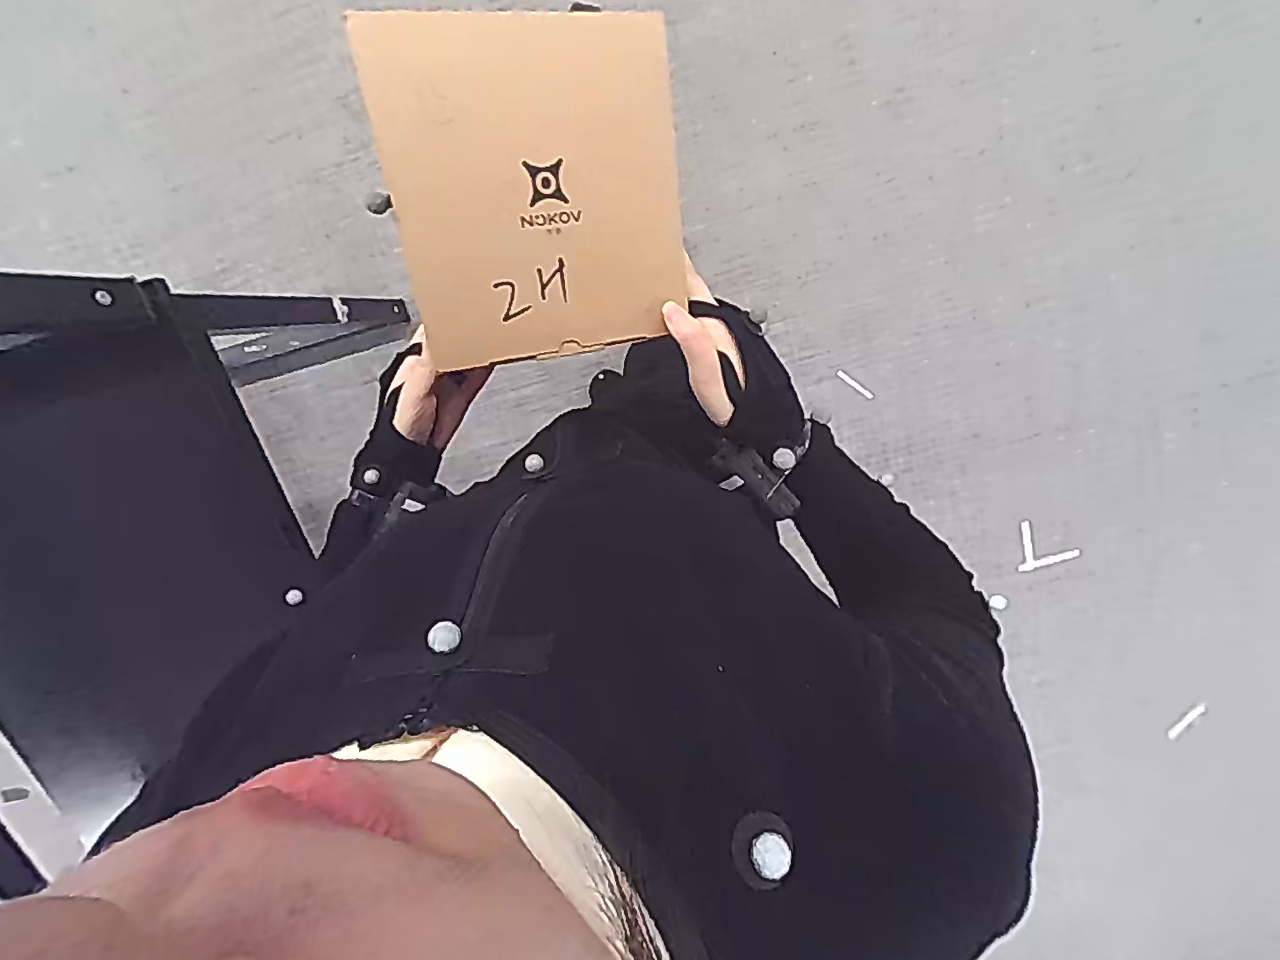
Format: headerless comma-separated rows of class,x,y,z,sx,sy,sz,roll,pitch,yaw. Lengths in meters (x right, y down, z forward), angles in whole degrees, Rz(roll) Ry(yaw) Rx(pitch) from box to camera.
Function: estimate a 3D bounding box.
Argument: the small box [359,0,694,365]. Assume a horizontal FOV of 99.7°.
small box,-0.075,-0.185,0.372,0.168,0.176,0.179,-12,112,-16
